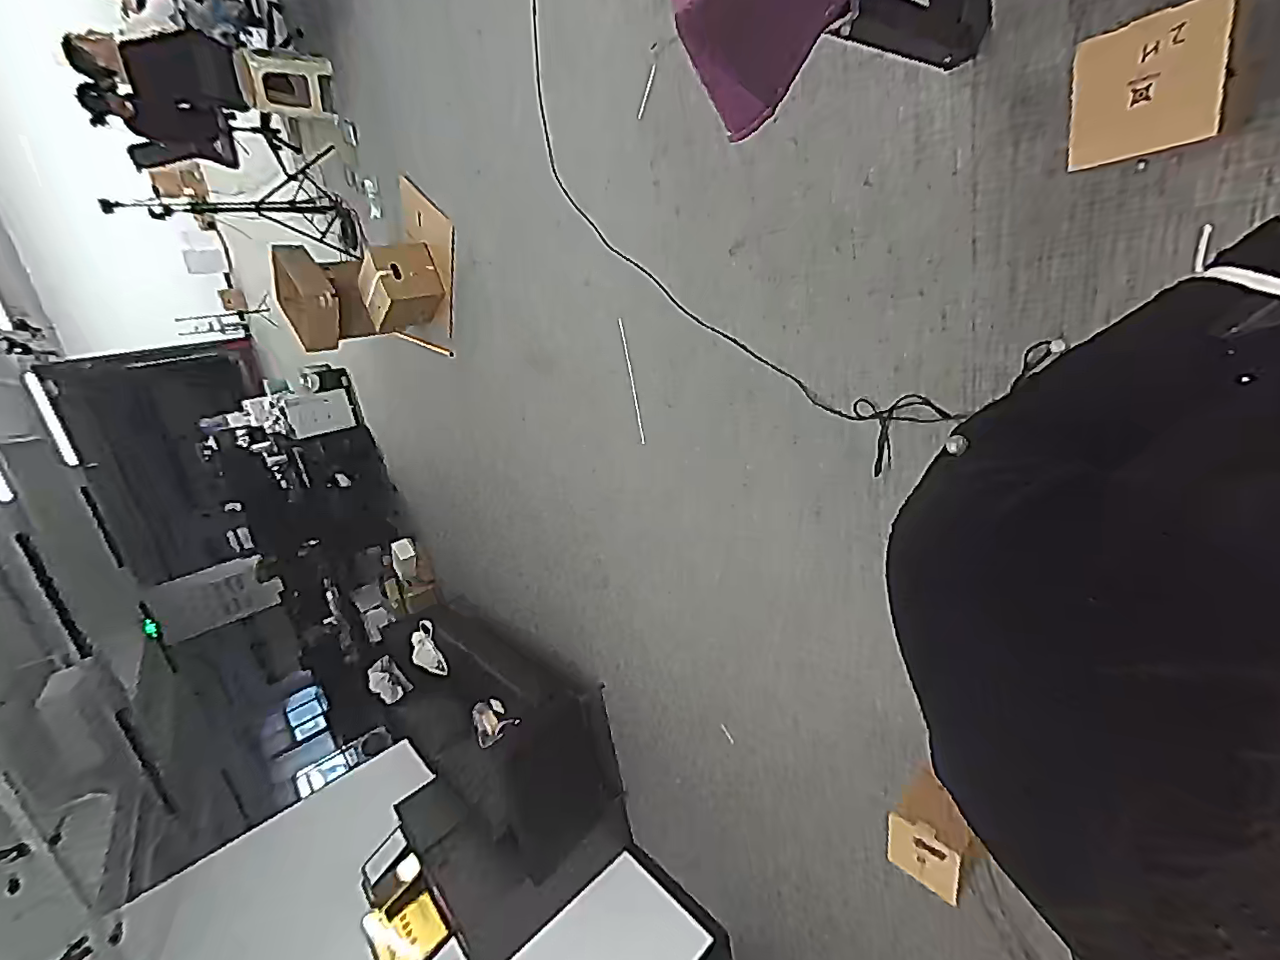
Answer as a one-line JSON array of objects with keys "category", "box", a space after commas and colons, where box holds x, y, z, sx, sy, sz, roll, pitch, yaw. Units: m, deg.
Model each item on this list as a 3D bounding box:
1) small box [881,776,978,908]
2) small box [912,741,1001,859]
[{"category": "small box", "box": [0.726, 0.894, 1.355, 0.168, 0.176, 0.179, 15, 120, 48]}, {"category": "small box", "box": [0.850, 0.848, 1.455, 0.168, 0.176, 0.179, 14, 118, 49]}]
